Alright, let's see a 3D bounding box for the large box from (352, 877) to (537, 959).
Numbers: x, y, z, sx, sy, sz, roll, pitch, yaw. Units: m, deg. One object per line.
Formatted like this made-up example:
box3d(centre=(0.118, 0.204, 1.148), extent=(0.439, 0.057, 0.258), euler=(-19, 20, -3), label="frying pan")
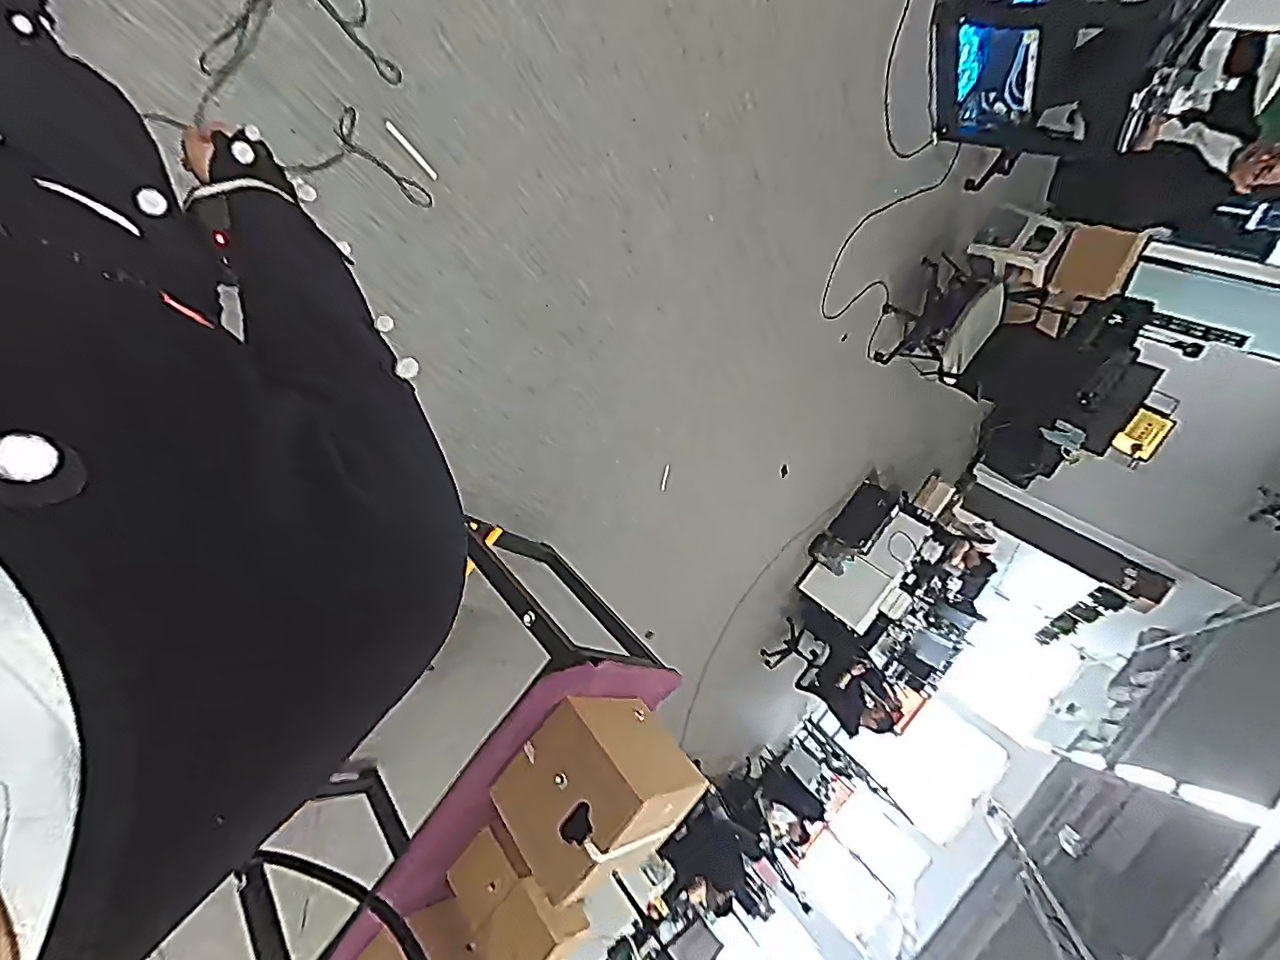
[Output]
box3d(centre=(-0.536, 1.330, 1.395), extent=(0.320, 0.320, 0.408), euler=(-52, 147, 0), label="large box")
